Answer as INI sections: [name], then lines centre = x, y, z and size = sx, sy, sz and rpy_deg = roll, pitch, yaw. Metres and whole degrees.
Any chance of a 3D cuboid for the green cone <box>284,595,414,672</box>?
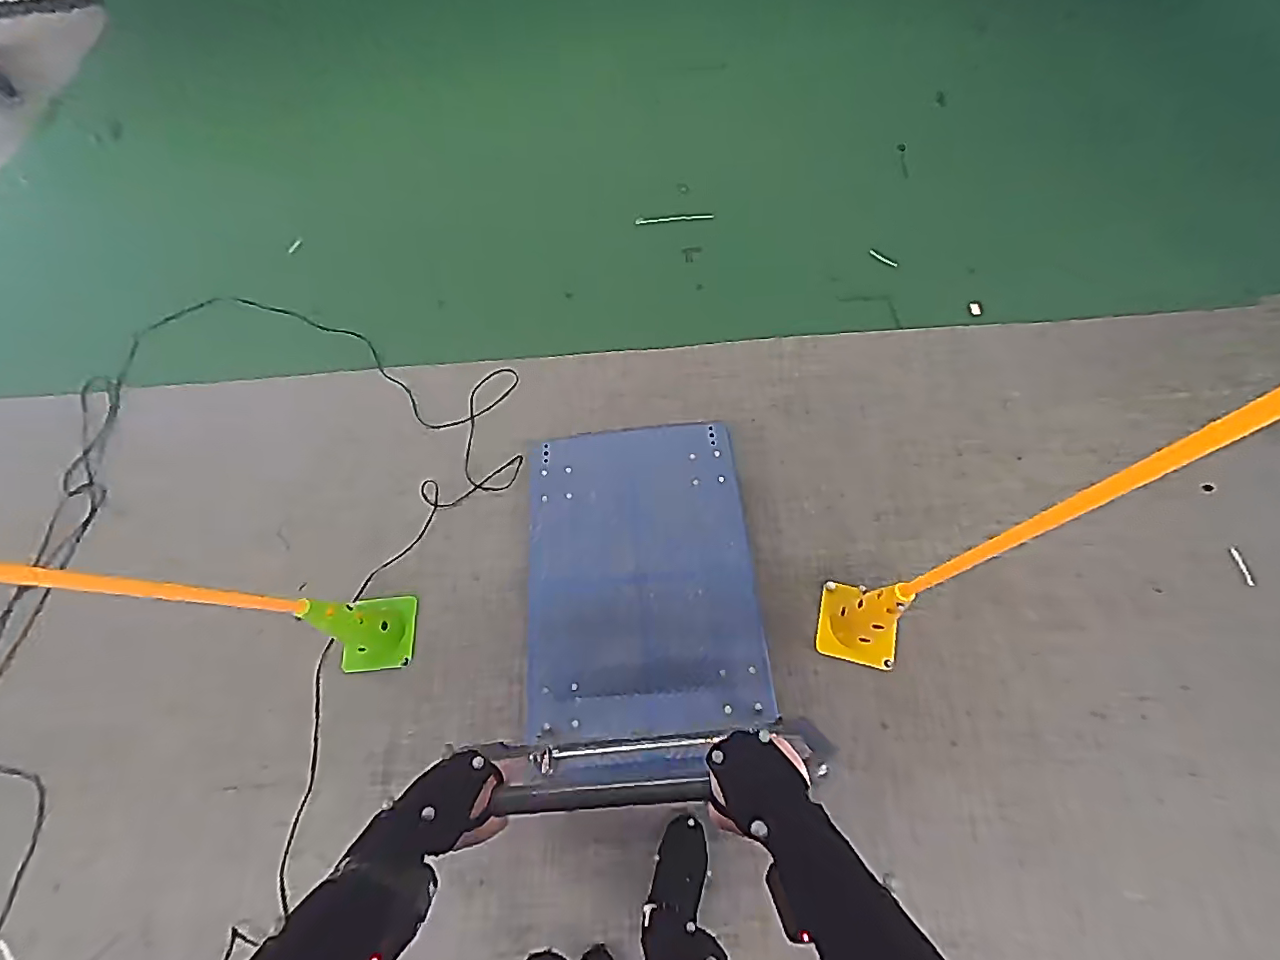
[green cone]
centre = -0.761, 0.359, 1.382
size = 0.202, 0.368, 0.200
rpy_deg = -8, 64, 3
